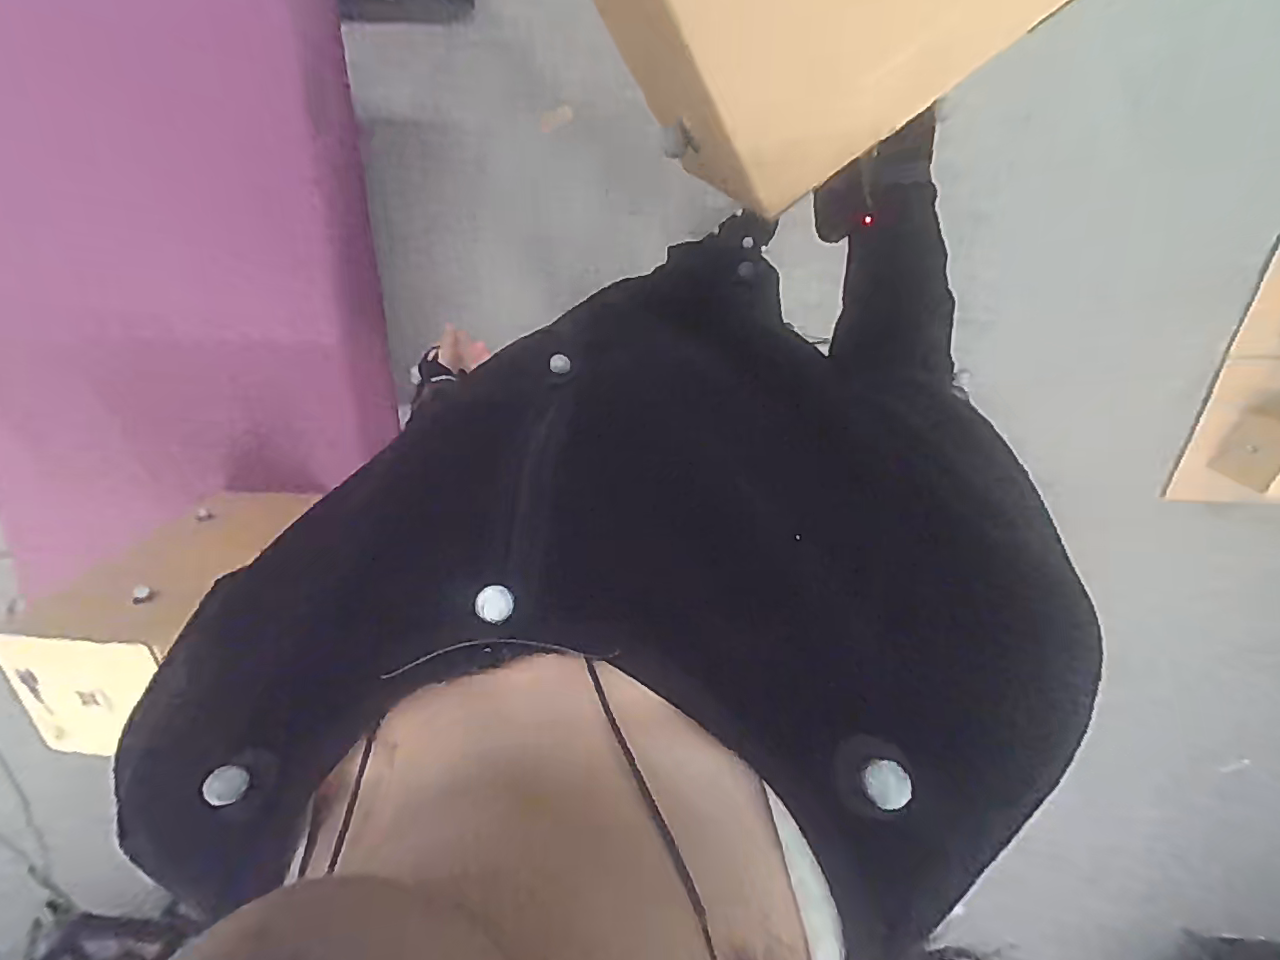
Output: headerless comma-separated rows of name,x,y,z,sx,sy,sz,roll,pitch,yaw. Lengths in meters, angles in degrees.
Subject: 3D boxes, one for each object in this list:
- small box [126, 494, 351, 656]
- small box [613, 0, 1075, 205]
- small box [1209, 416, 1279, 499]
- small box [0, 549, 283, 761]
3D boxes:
small box,-0.554,0.128,0.776,0.179,0.176,0.168,1,114,2
small box,0.075,-0.276,0.265,0.168,0.179,0.176,-32,126,12
small box,1.619,-0.052,1.359,0.179,0.176,0.168,8,115,-1
small box,-0.552,0.193,0.625,0.179,0.176,0.168,3,114,1
